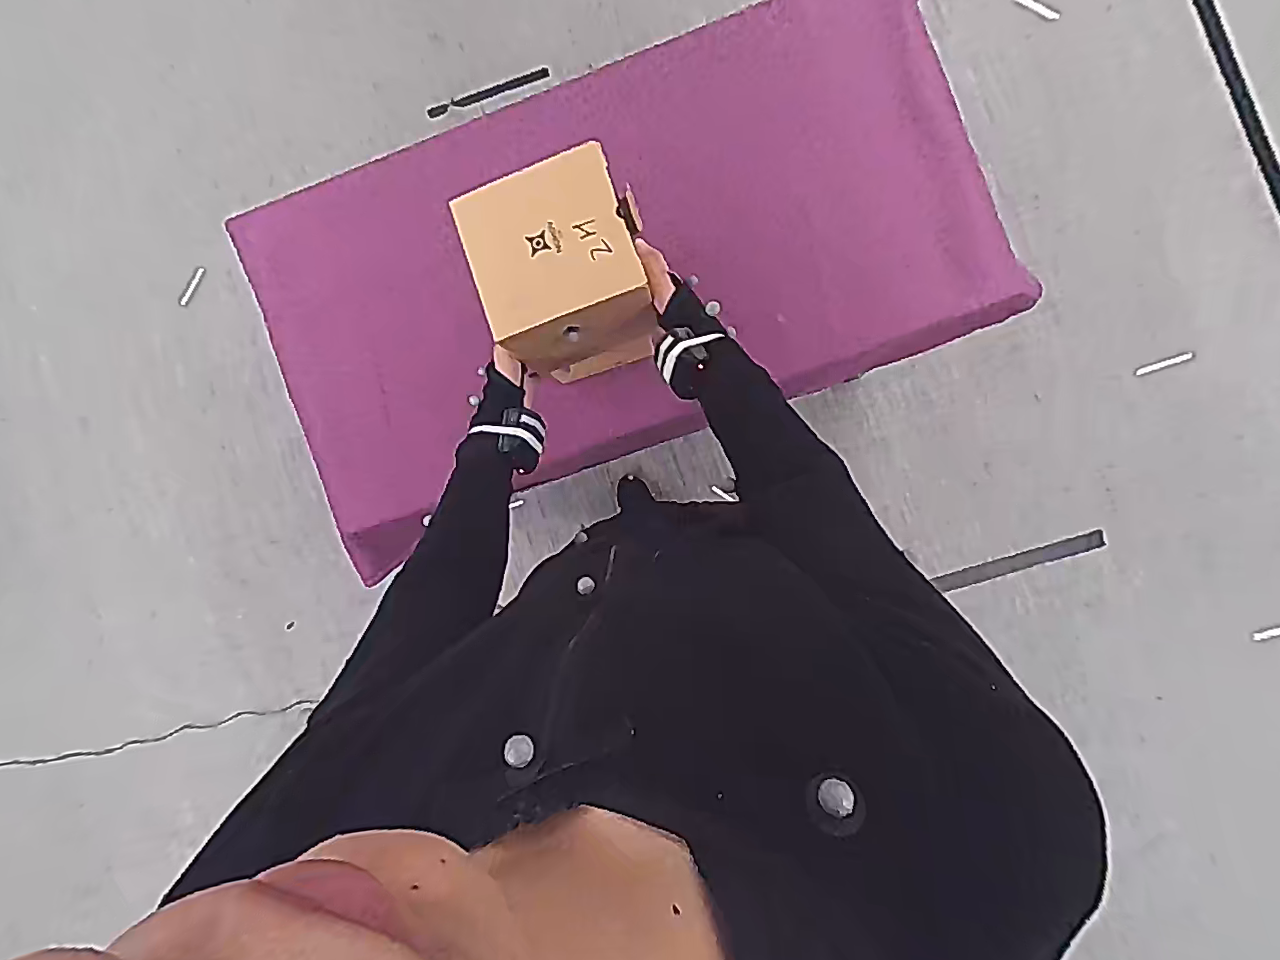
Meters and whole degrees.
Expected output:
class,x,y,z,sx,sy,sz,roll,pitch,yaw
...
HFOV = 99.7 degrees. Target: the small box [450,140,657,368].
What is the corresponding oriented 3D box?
class,x,y,z,sx,sy,sz,roll,pitch,yaw
small box,-0.090,-0.249,0.647,0.179,0.176,0.168,-19,87,6
